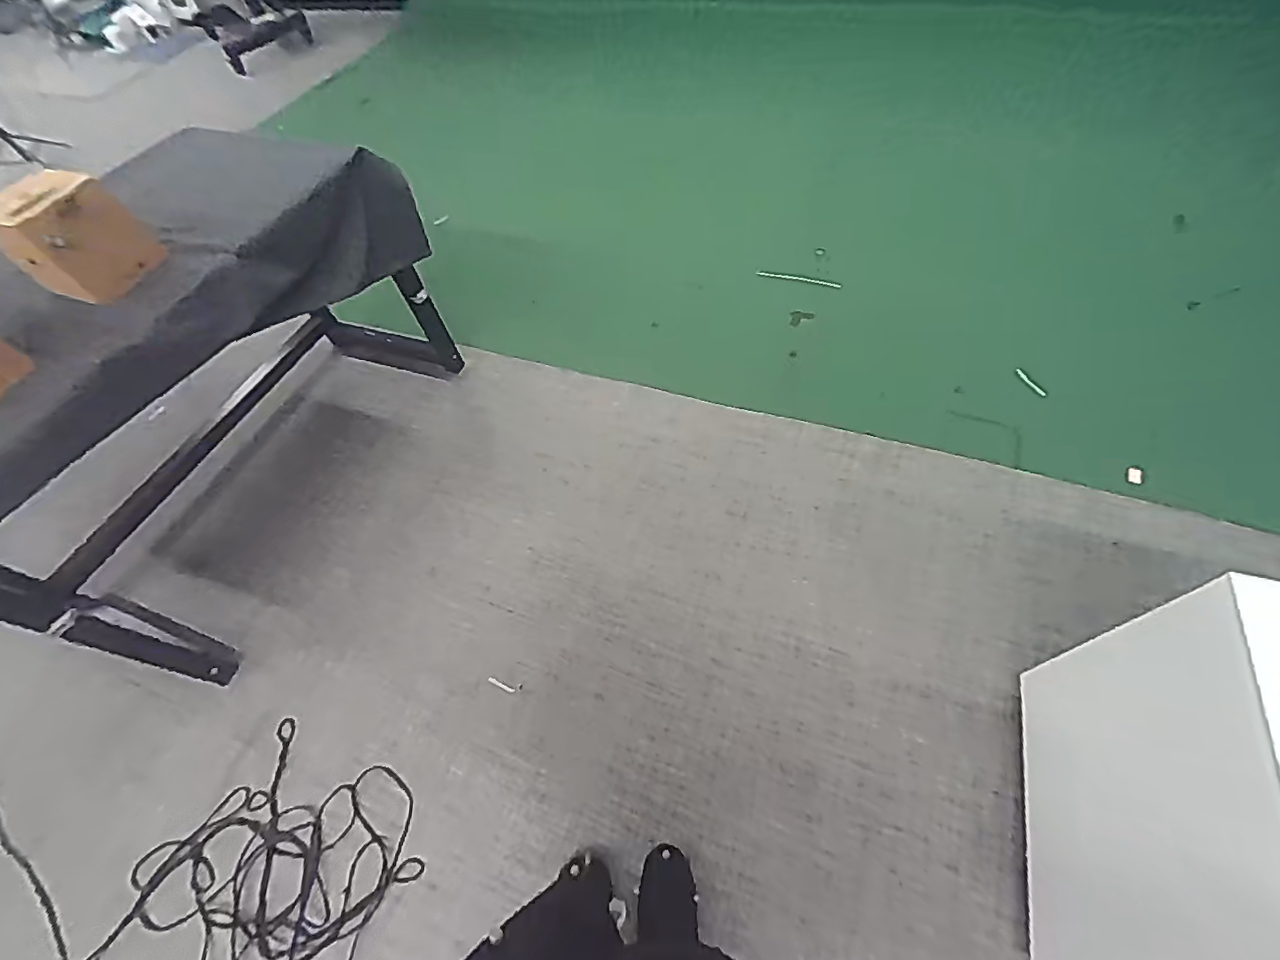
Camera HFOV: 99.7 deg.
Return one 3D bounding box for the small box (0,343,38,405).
[{"bbox_3d":[-1.195,-0.195,0.894,0.179,0.176,0.168,15,59,16],"label":"small box"}]
